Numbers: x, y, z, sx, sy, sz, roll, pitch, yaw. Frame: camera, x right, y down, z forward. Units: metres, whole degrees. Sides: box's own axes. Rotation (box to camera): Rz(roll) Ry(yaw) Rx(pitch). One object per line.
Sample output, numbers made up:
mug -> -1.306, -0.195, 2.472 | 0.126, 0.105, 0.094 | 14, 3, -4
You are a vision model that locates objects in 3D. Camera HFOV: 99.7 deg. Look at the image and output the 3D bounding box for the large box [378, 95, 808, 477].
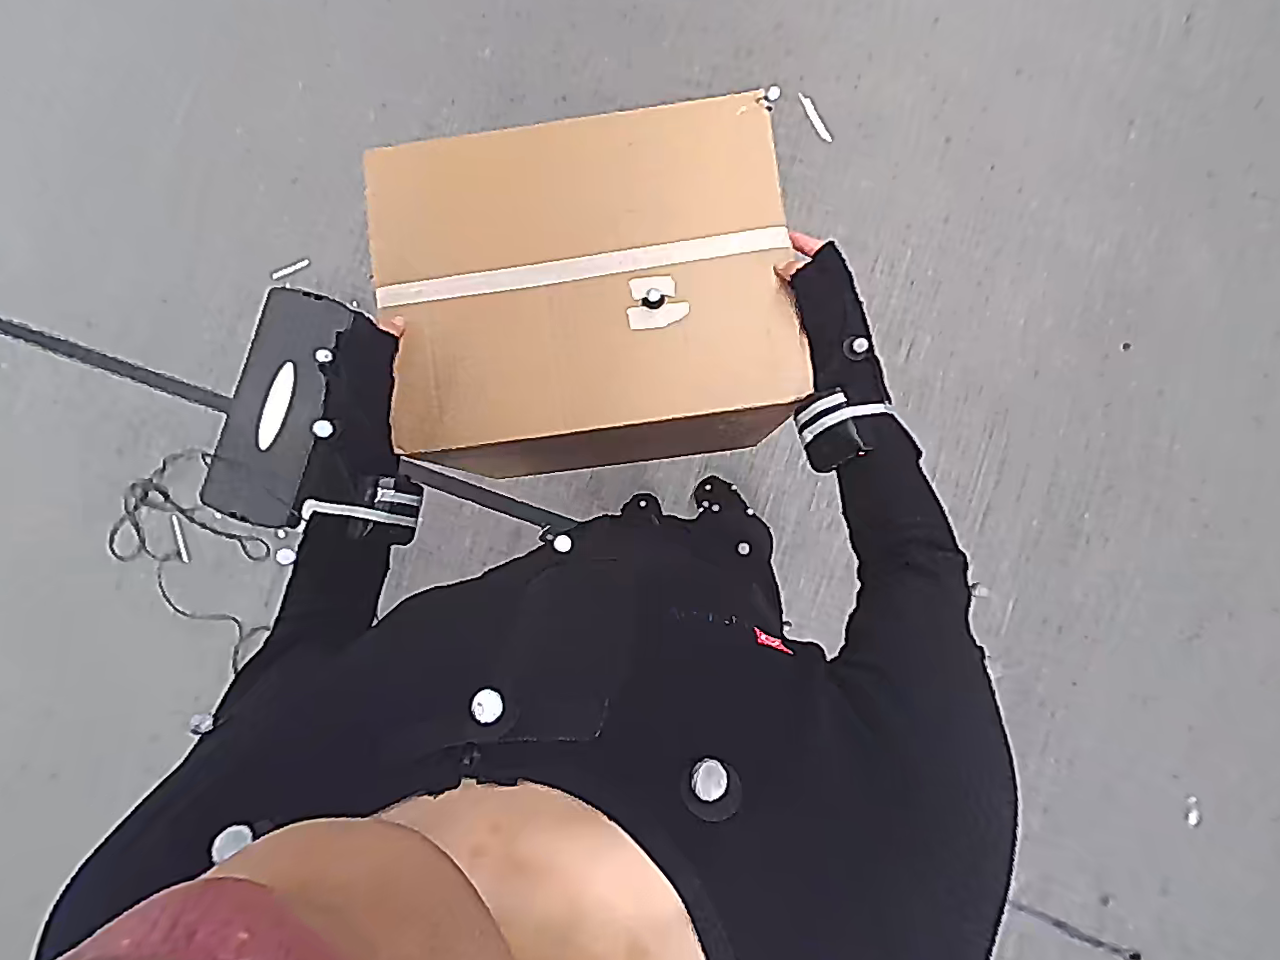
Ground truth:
large box -> -0.051, -0.198, 0.686 | 0.408, 0.320, 0.320 | -8, 85, 1
